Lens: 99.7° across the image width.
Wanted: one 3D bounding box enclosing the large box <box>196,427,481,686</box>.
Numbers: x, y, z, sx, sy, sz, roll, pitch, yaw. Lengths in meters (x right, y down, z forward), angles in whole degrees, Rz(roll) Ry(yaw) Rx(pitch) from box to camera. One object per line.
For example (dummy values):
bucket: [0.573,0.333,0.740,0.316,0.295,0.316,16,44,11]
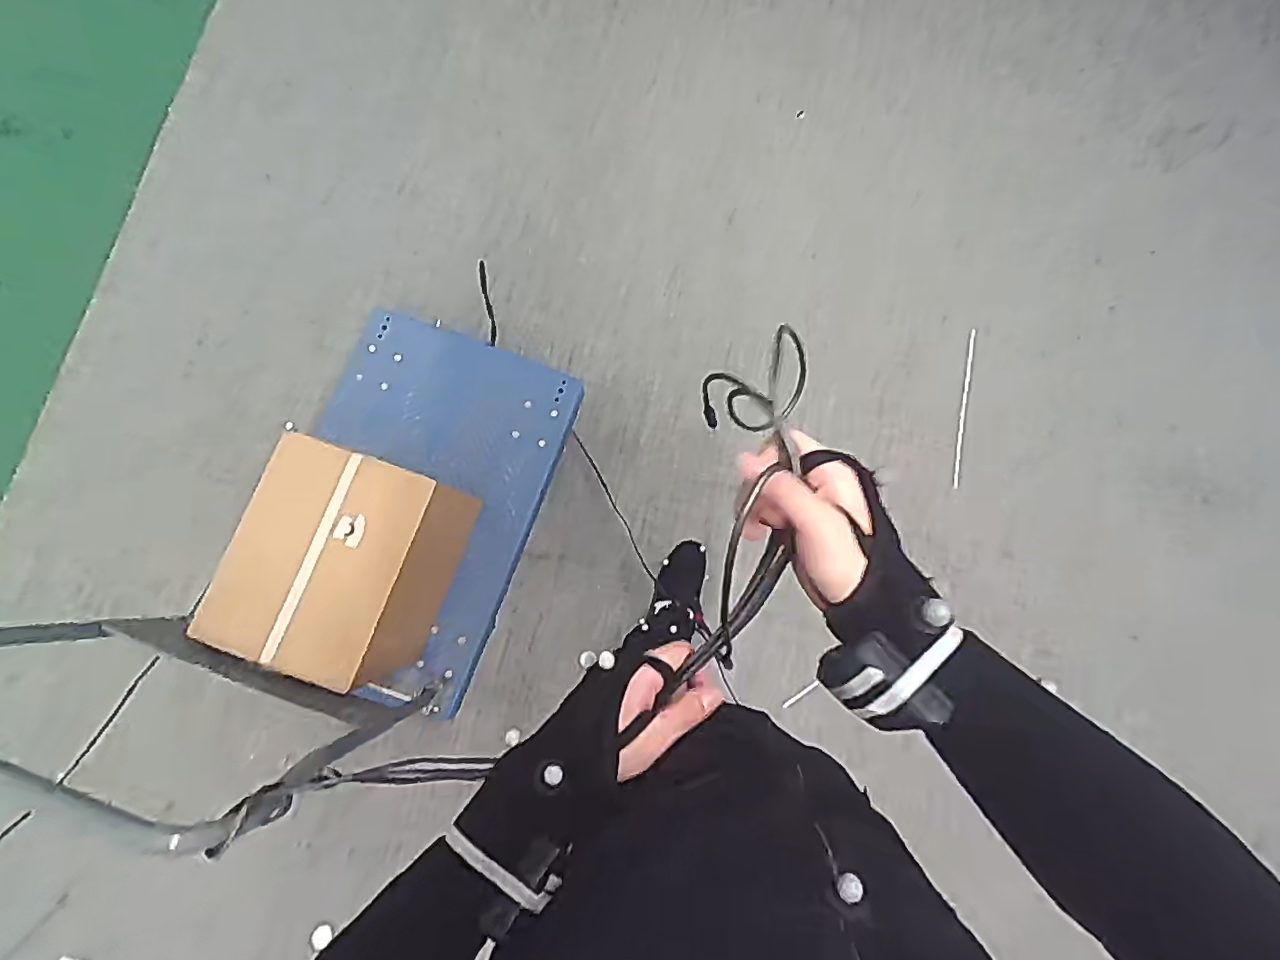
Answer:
large box: [-0.583,0.157,1.126,0.320,0.320,0.408,19,81,2]
